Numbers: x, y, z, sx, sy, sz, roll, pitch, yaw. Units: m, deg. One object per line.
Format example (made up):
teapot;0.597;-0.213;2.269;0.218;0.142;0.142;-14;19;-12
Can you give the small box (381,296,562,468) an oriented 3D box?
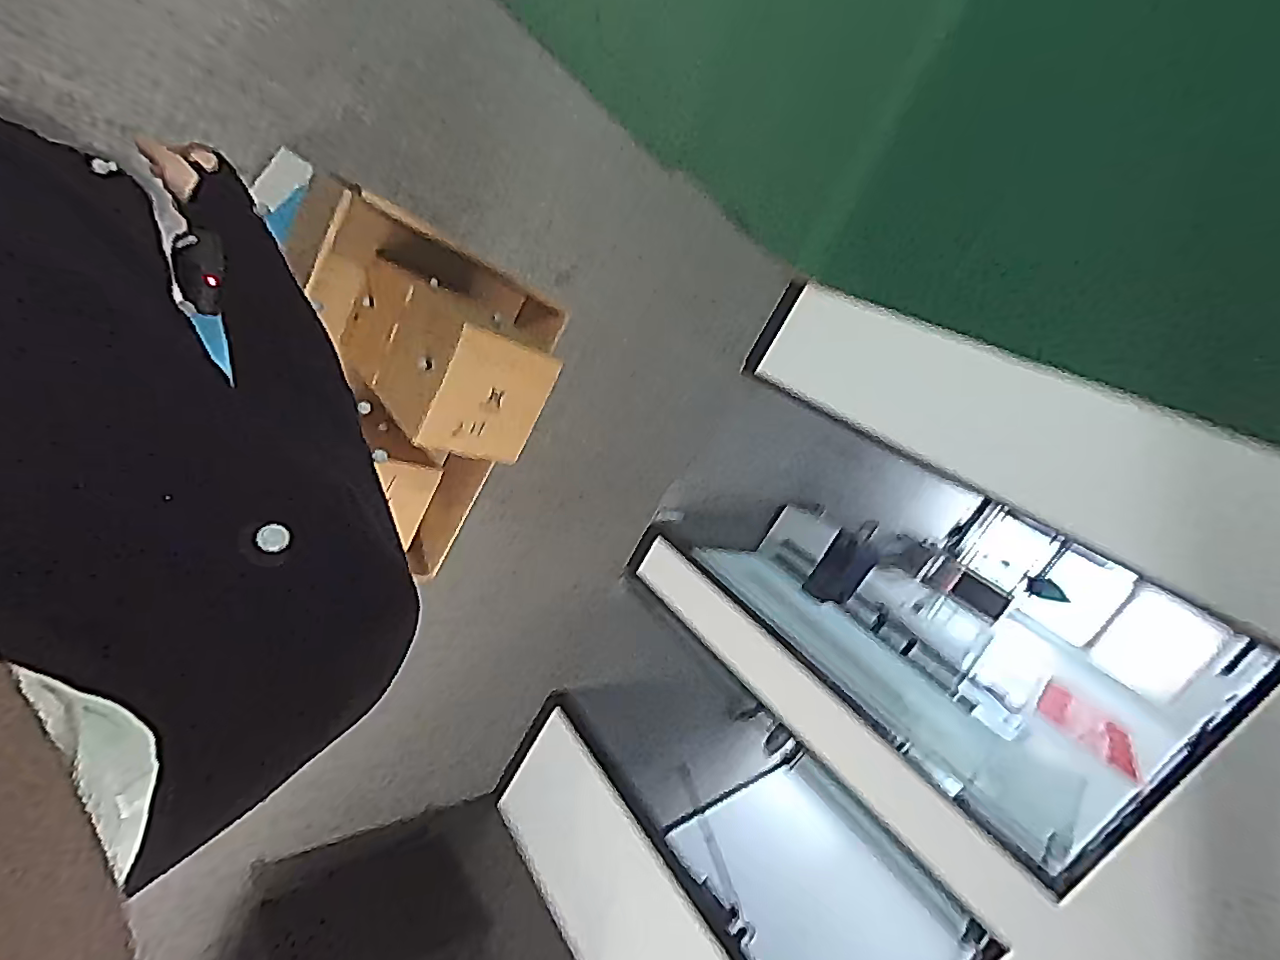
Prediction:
small box;-0.253;-0.143;0.795;0.168;0.176;0.179;13;112;-50
